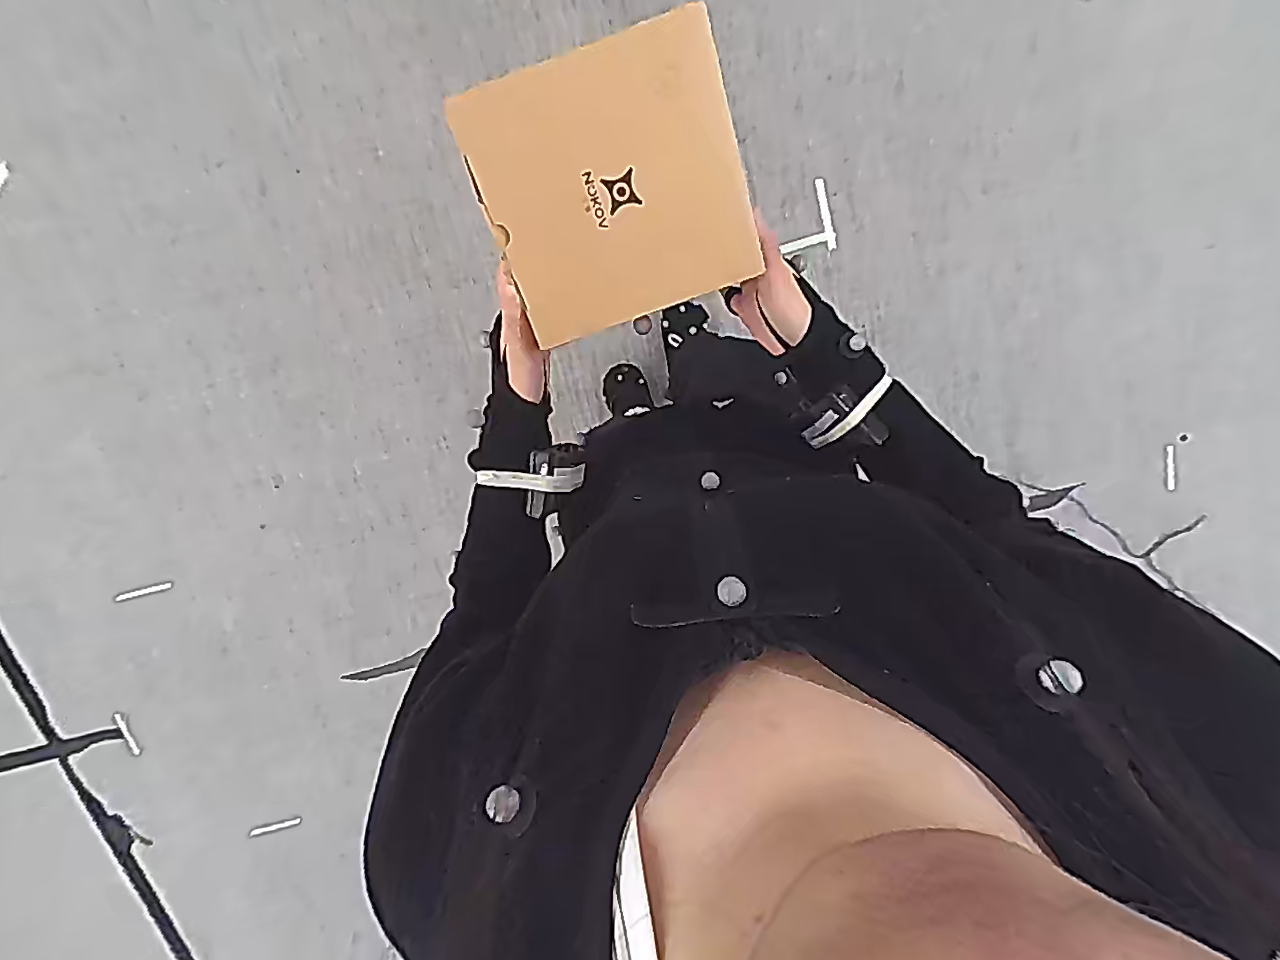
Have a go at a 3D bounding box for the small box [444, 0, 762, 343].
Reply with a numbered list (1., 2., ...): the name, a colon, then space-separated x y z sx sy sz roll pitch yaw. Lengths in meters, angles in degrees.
1. small box: -0.023 -0.229 0.436 0.179 0.176 0.168 -19 113 5
